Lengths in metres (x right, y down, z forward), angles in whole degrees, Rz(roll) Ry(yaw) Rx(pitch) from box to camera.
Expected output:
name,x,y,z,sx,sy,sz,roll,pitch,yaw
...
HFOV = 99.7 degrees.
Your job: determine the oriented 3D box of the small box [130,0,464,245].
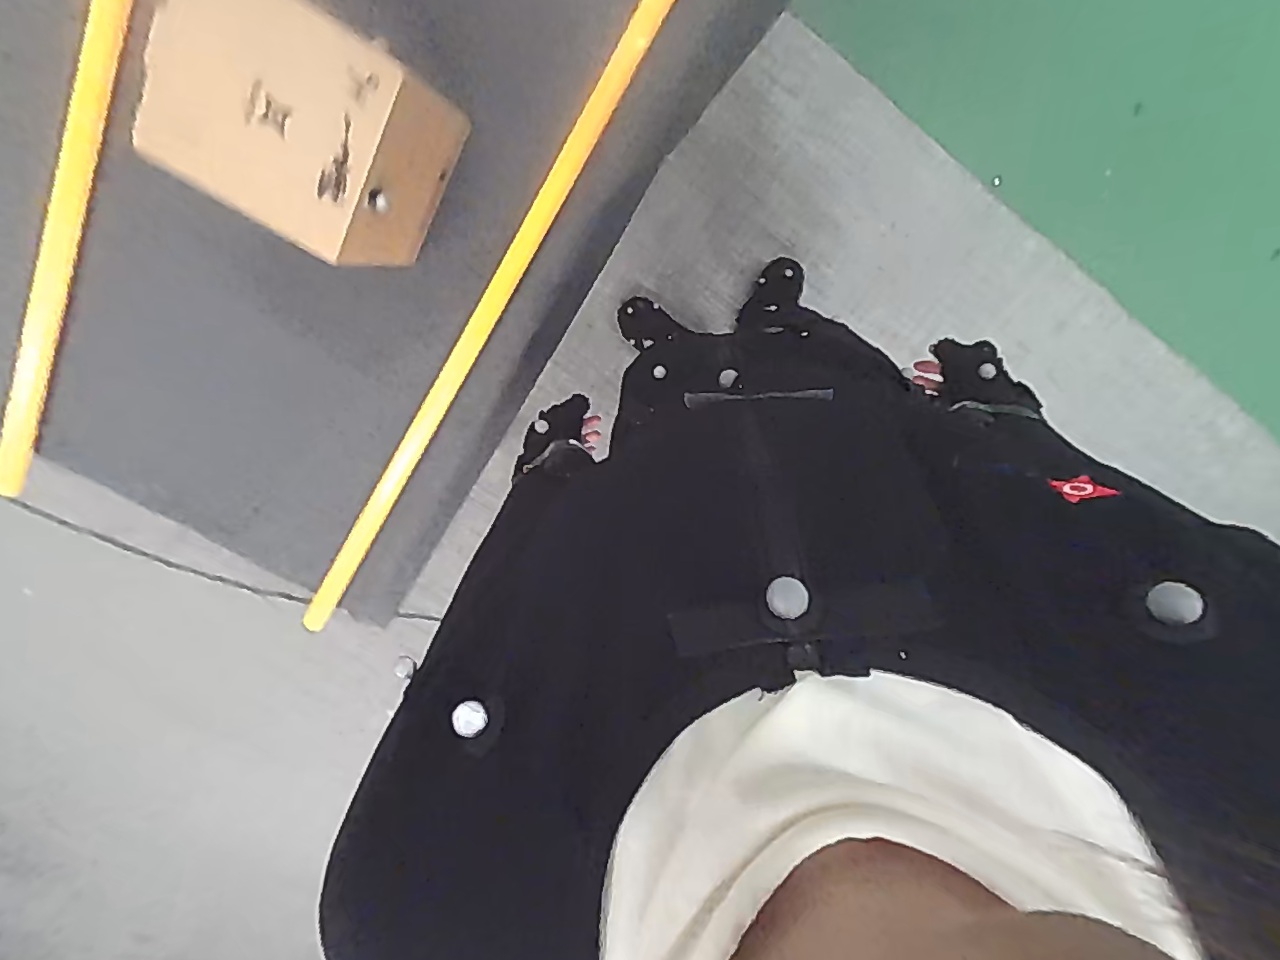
name,x,y,z,sx,sy,sz,roll,pitch,yaw
small box,-0.296,-0.334,0.500,0.179,0.176,0.168,30,110,-10
